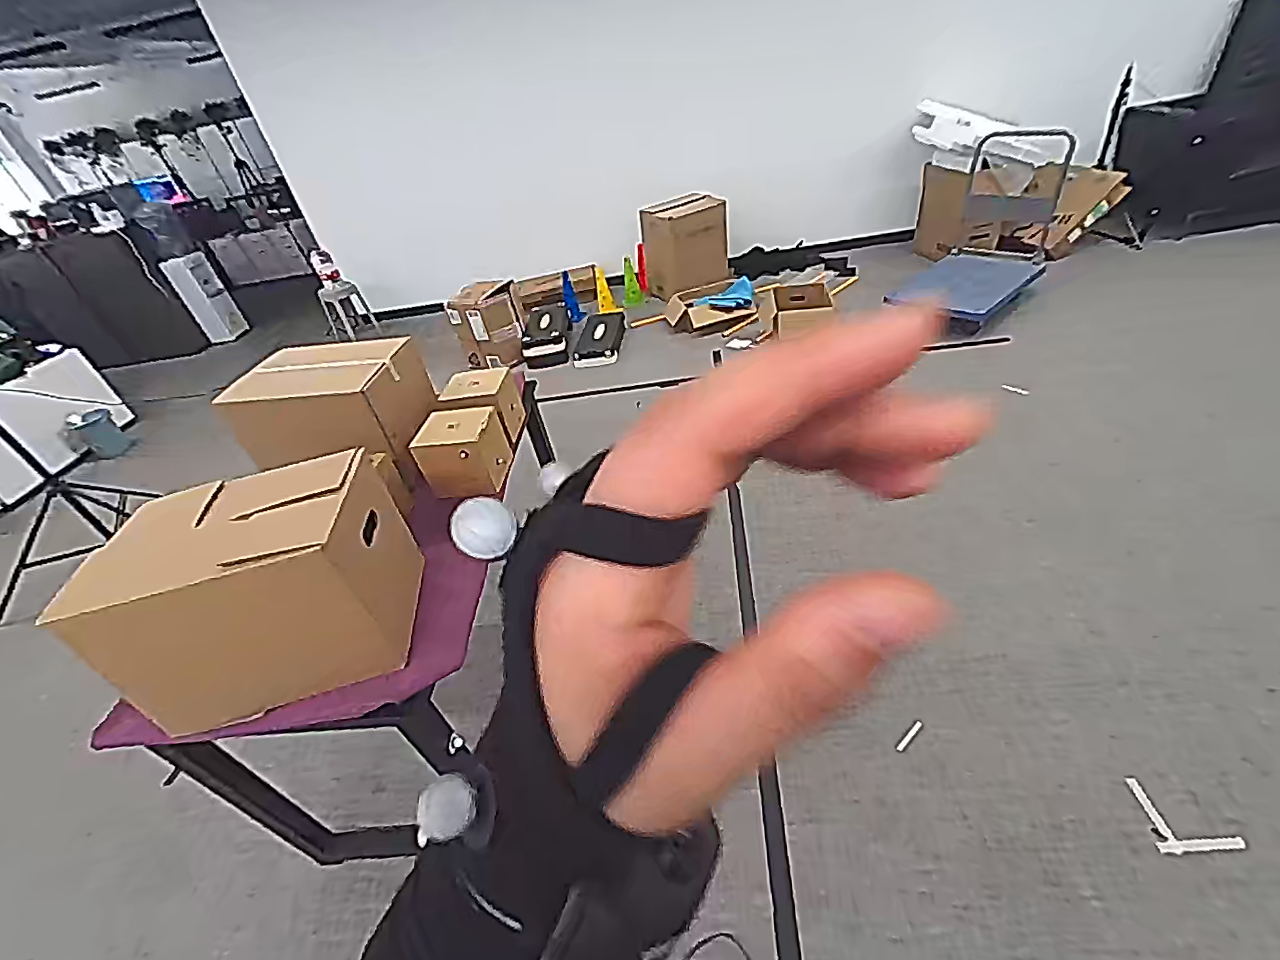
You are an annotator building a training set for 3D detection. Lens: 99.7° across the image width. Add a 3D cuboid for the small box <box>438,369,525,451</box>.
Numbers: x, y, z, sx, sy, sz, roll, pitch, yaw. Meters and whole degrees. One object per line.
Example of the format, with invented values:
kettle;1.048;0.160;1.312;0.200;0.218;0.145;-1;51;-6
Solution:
small box;-0.452;-0.203;1.578;0.179;0.176;0.168;-6;37;8
